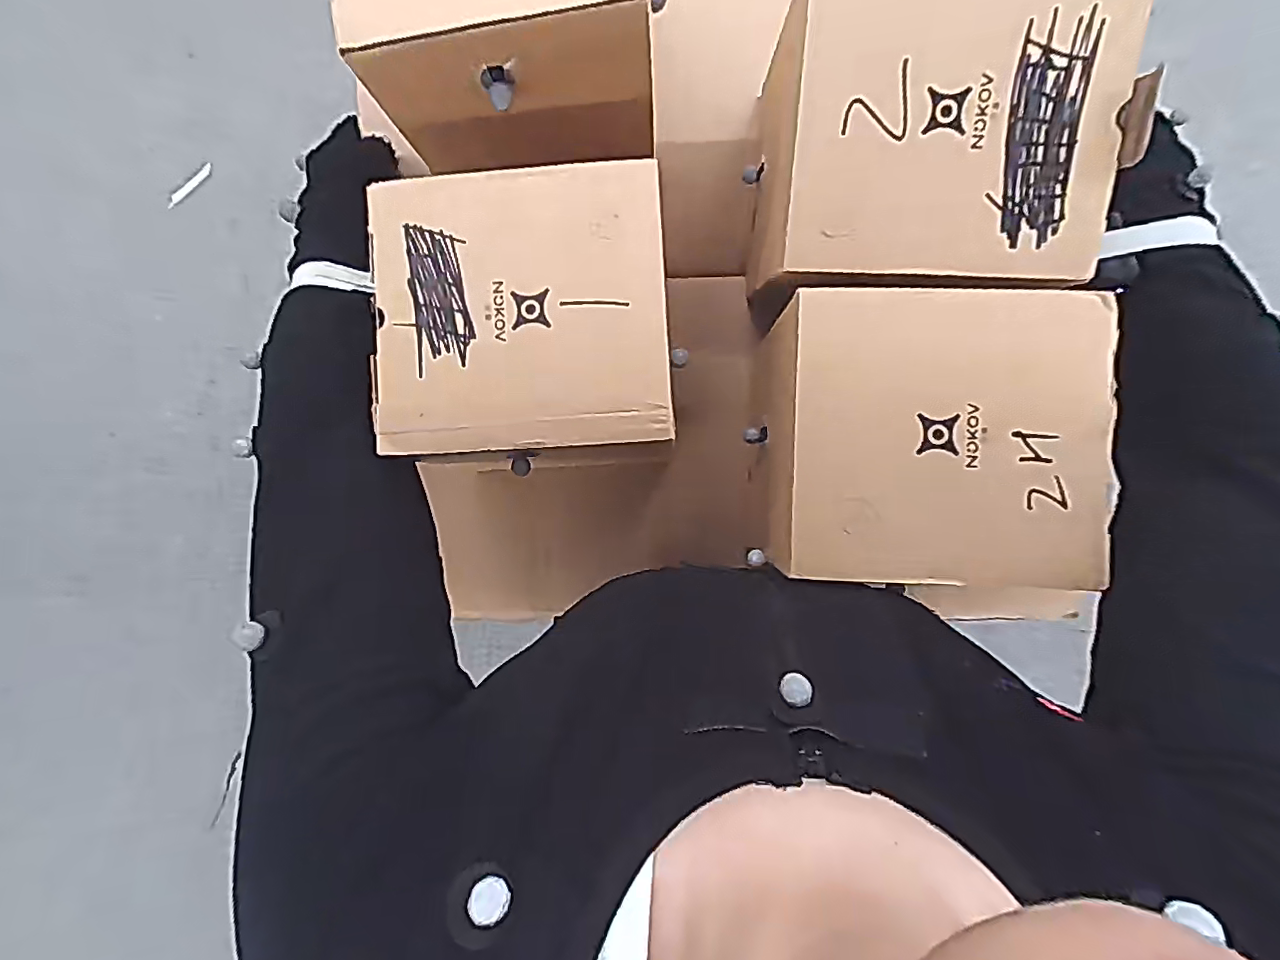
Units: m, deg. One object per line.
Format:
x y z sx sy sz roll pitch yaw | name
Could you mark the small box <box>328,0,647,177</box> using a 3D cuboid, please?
-0.089 -0.340 0.371 0.179 0.176 0.168 -7 91 4 | small box
